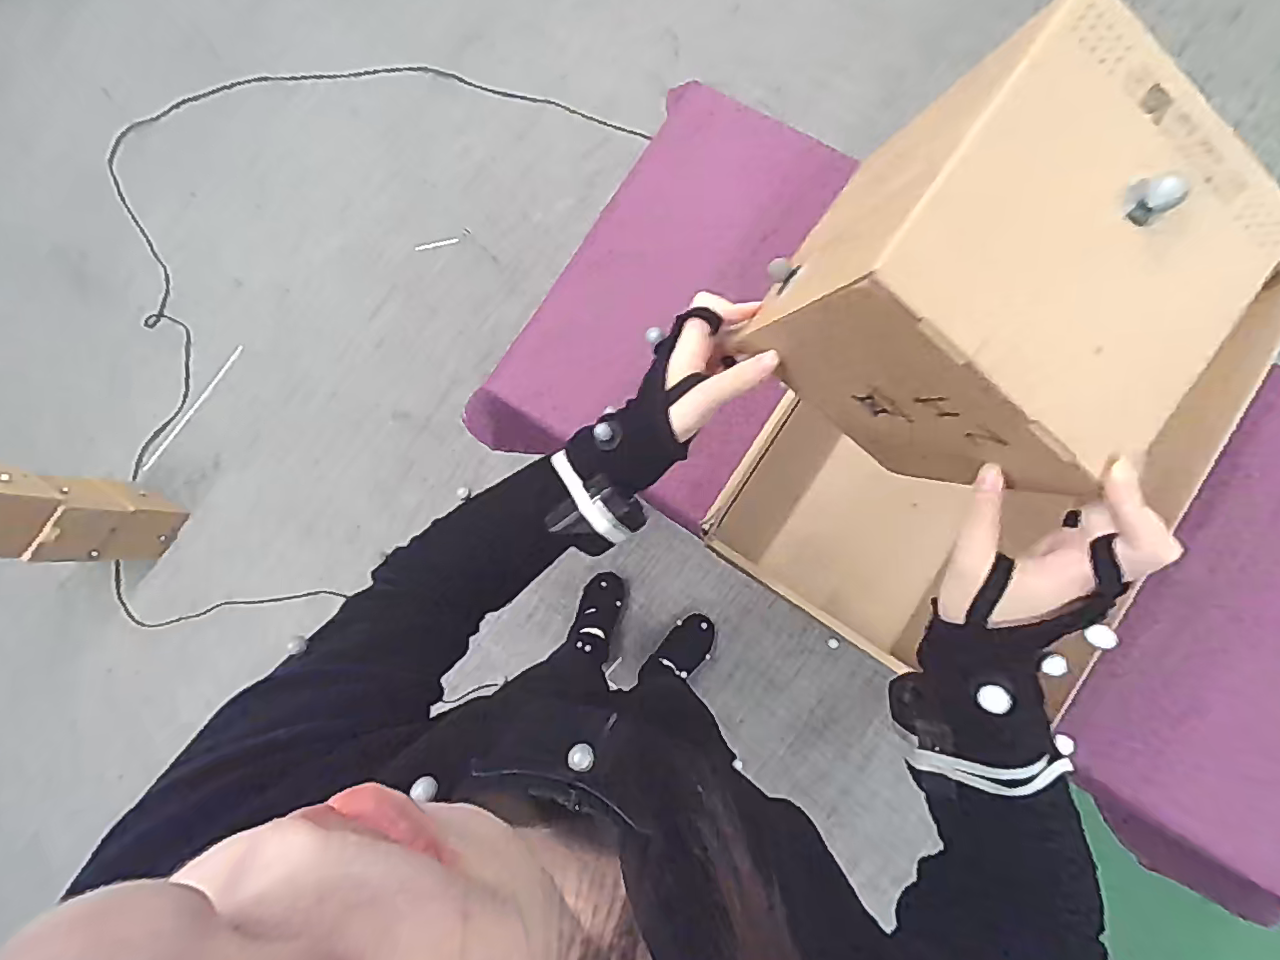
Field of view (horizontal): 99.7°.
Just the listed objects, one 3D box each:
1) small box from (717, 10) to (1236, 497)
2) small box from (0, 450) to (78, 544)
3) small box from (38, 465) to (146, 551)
[{"bbox_3d":[0.181,-0.113,0.337,0.168,0.179,0.176,35,89,-11],"label":"small box"},{"bbox_3d":[-1.510,0.037,1.283,0.168,0.176,0.179,33,88,10],"label":"small box"},{"bbox_3d":[-1.493,0.073,1.442,0.179,0.176,0.168,33,87,10],"label":"small box"}]
